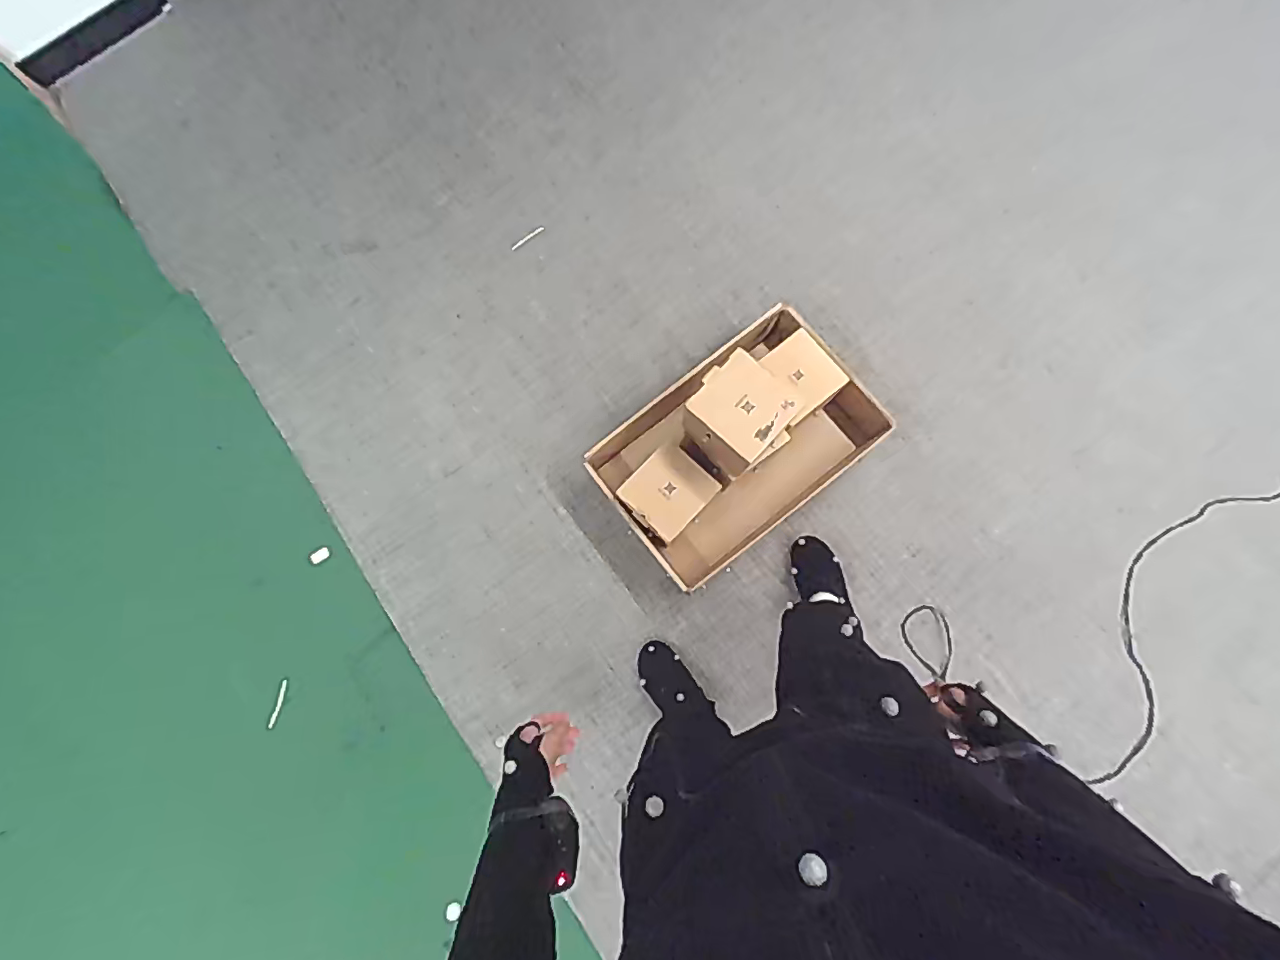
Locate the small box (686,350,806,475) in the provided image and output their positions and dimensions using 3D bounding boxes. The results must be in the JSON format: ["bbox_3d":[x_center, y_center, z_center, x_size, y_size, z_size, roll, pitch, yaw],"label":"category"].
[{"bbox_3d":[0.210,-0.130,1.128,0.179,0.176,0.168,43,85,9],"label":"small box"}]
